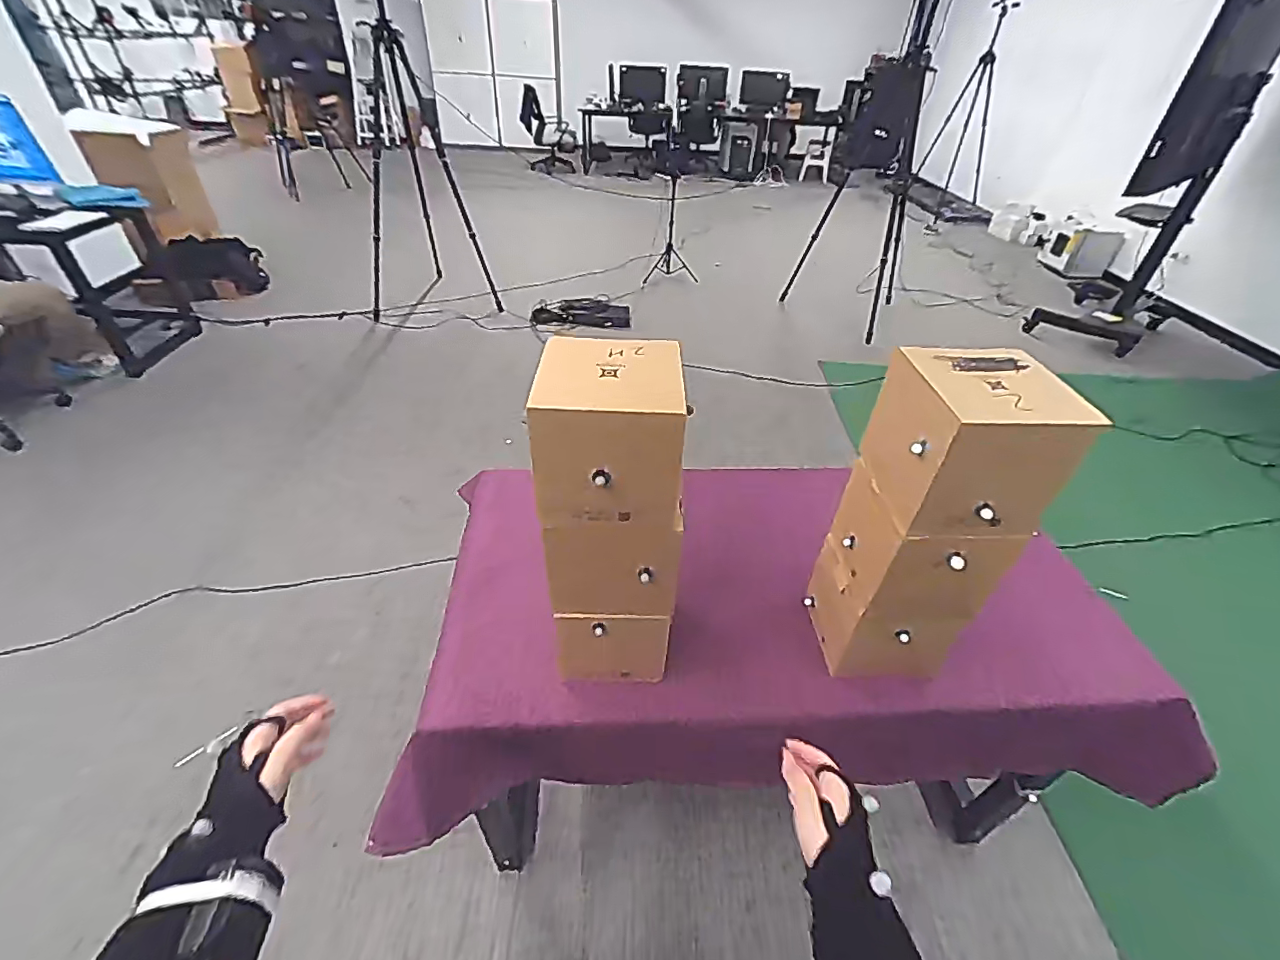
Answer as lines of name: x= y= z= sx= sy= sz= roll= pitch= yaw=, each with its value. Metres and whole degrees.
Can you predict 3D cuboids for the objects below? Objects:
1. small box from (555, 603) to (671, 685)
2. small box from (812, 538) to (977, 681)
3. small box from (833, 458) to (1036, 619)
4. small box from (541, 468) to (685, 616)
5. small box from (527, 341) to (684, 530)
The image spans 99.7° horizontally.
small box: x=-0.041 y=0.203 z=0.867 sx=0.168 sy=0.176 sz=0.179 roll=1 pitch=39 yaw=-1
small box: x=0.395 y=0.211 z=0.882 sx=0.179 sy=0.176 sz=0.168 roll=1 pitch=39 yaw=-3
small box: x=0.404 y=0.085 z=0.779 sx=0.179 sy=0.176 sz=0.168 roll=0 pitch=40 yaw=-2
small box: x=-0.035 y=0.077 z=0.764 sx=0.179 sy=0.176 sz=0.168 roll=2 pitch=39 yaw=-1
small box: x=-0.035 y=-0.054 z=0.664 sx=0.168 sy=0.176 sz=0.179 roll=3 pitch=38 yaw=-1
